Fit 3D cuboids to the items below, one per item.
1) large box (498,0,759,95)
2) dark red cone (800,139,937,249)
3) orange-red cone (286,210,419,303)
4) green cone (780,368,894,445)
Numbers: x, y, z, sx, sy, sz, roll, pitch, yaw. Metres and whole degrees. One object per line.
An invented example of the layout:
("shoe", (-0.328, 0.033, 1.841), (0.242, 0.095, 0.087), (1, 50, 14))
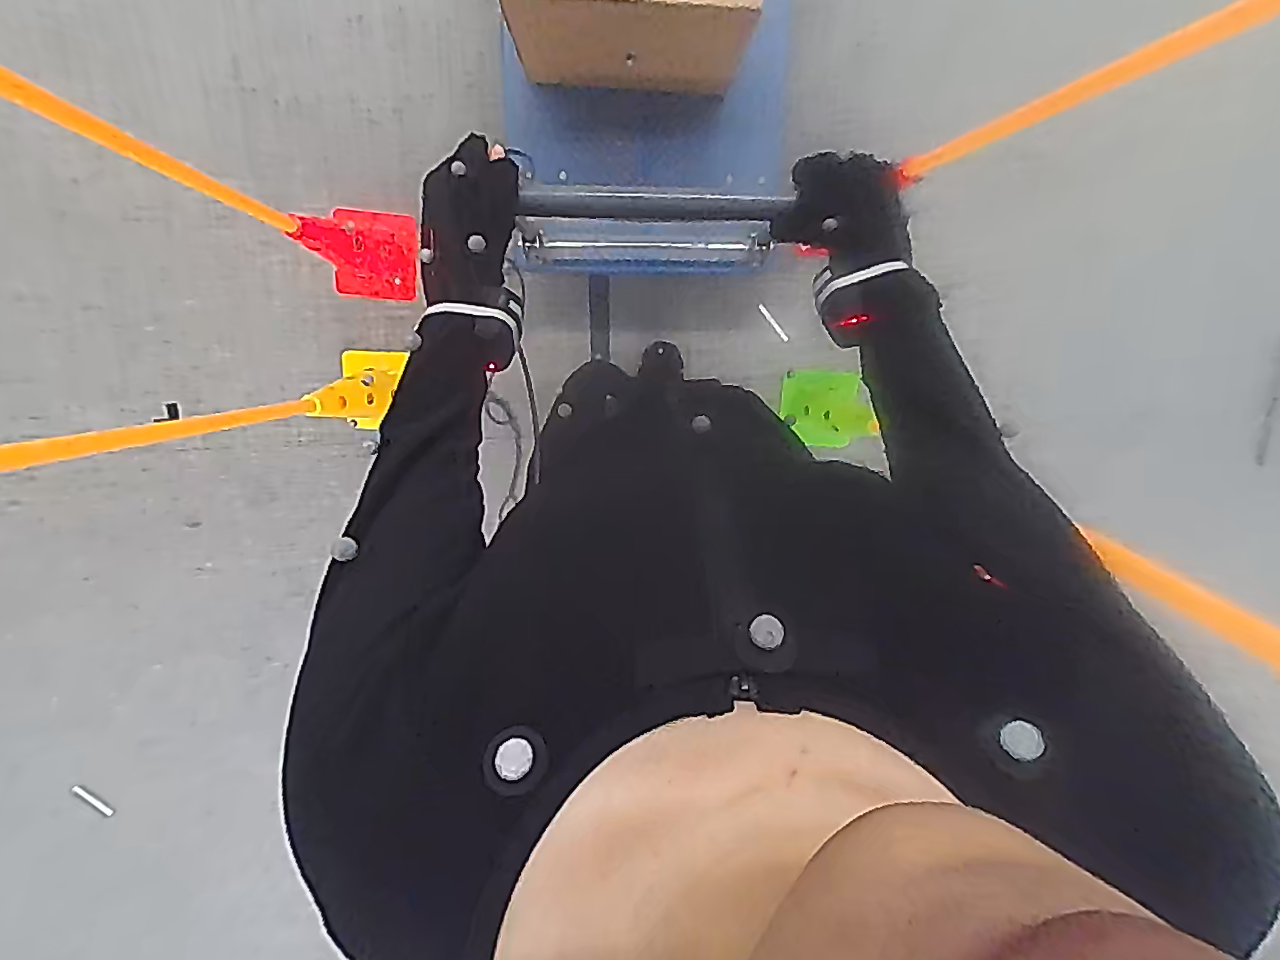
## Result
("large box", (-0.015, -0.901, 0.927), (0.408, 0.320, 0.320), (2, 105, -1))
("dark red cone", (0.493, -0.621, 1.138), (0.201, 0.394, 0.202), (-2, 104, -3))
("orange-red cone", (-0.636, -0.507, 1.156), (0.198, 0.360, 0.199), (6, 102, -4))
("green cone", (0.483, -0.153, 1.270), (0.202, 0.368, 0.200), (2, 104, -3))
